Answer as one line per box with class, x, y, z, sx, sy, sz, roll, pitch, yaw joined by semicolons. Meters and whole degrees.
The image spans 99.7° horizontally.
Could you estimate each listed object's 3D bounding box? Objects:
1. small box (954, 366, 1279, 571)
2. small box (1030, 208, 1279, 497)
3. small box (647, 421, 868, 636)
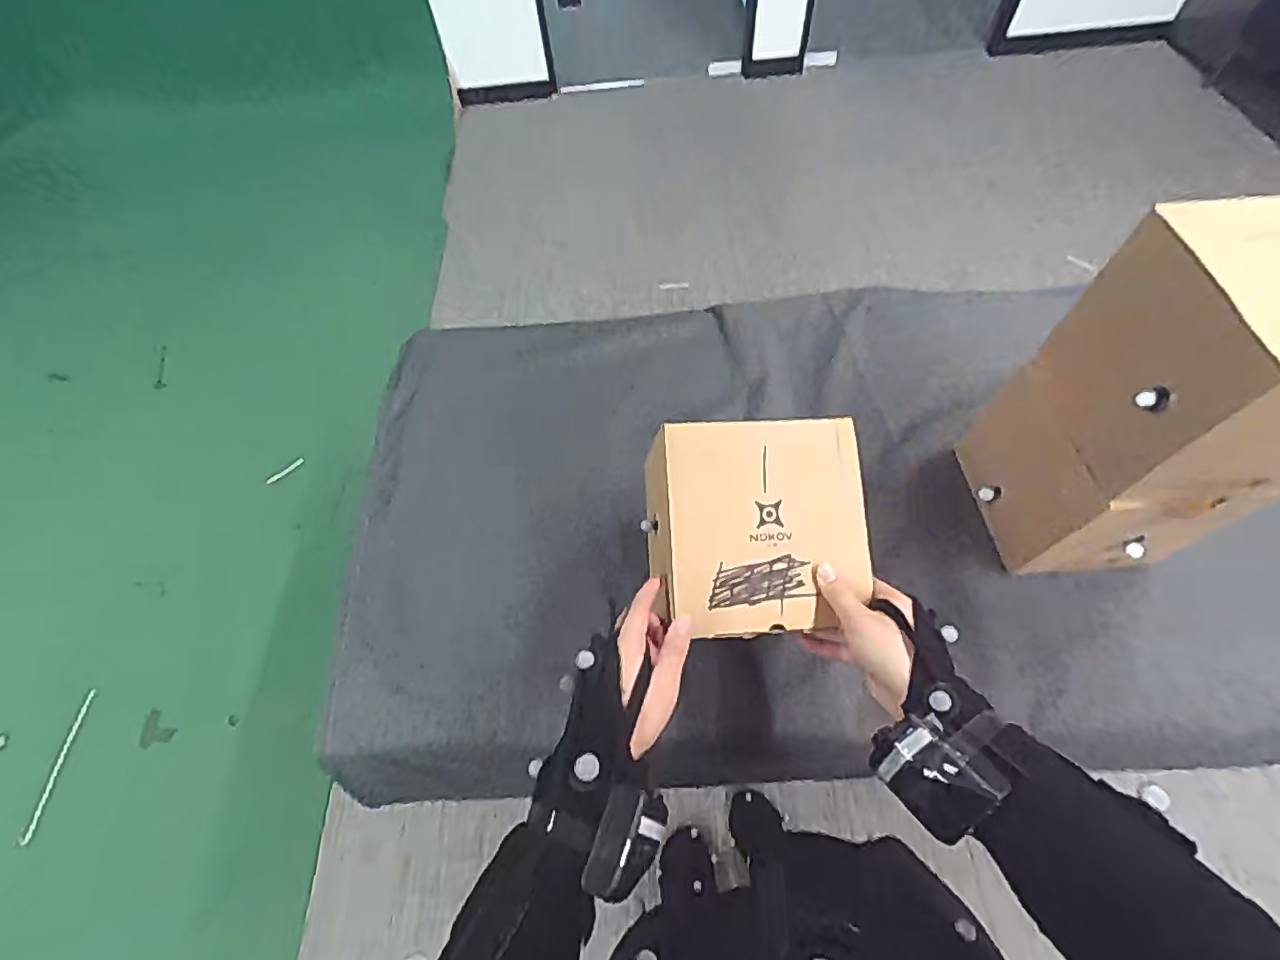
small box;0.481;-0.010;0.585;0.168;0.176;0.179;-5;59;1
small box;0.476;-0.094;0.445;0.168;0.176;0.179;-2;58;2
small box;0.096;0.050;0.524;0.168;0.176;0.179;-1;79;-5
